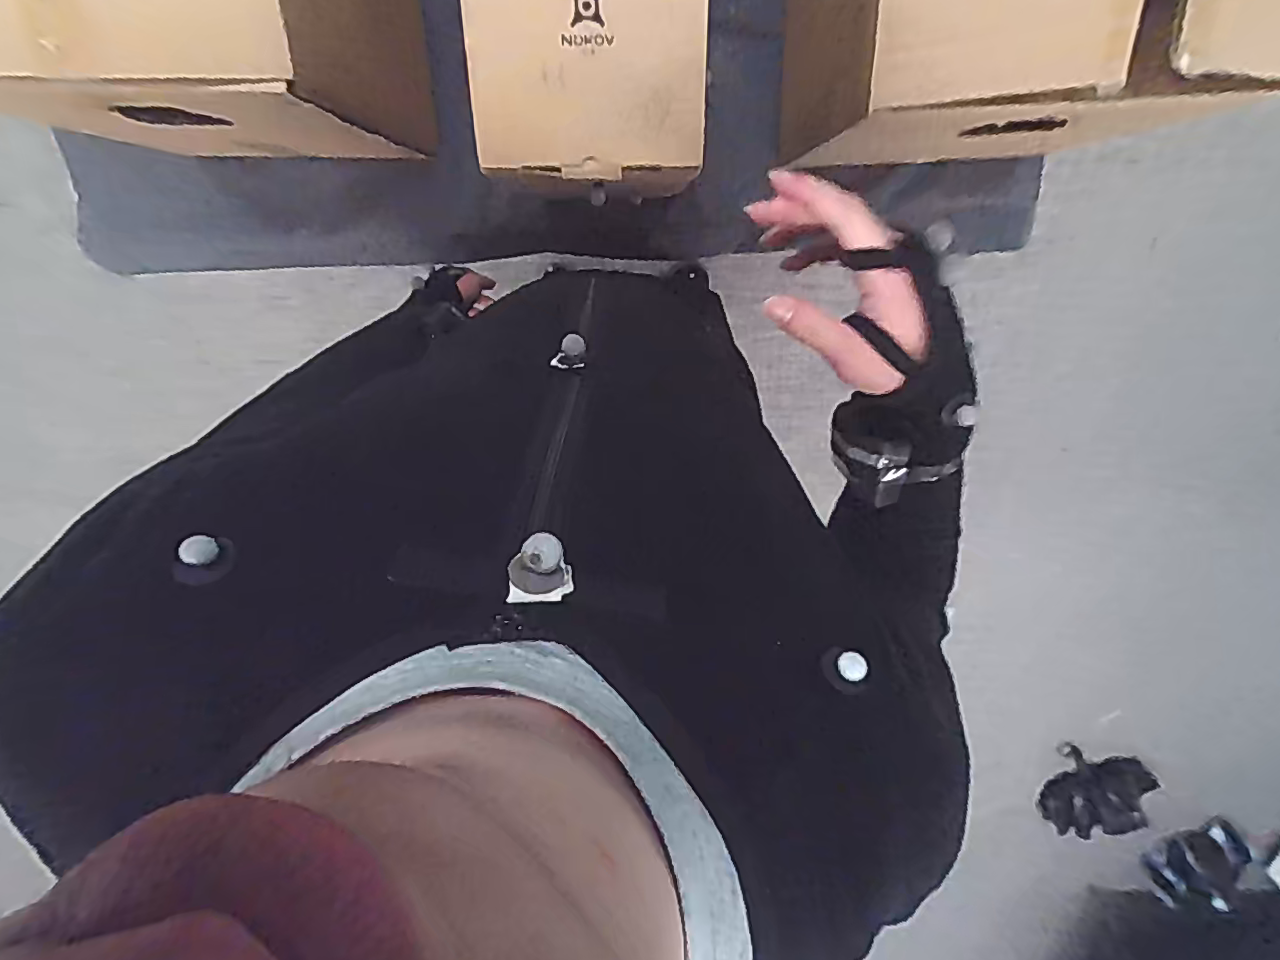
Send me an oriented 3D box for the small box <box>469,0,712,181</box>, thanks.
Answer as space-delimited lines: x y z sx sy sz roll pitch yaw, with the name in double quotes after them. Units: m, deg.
-0.034 -0.345 0.438 0.168 0.176 0.179 -1 115 -1 "small box"
